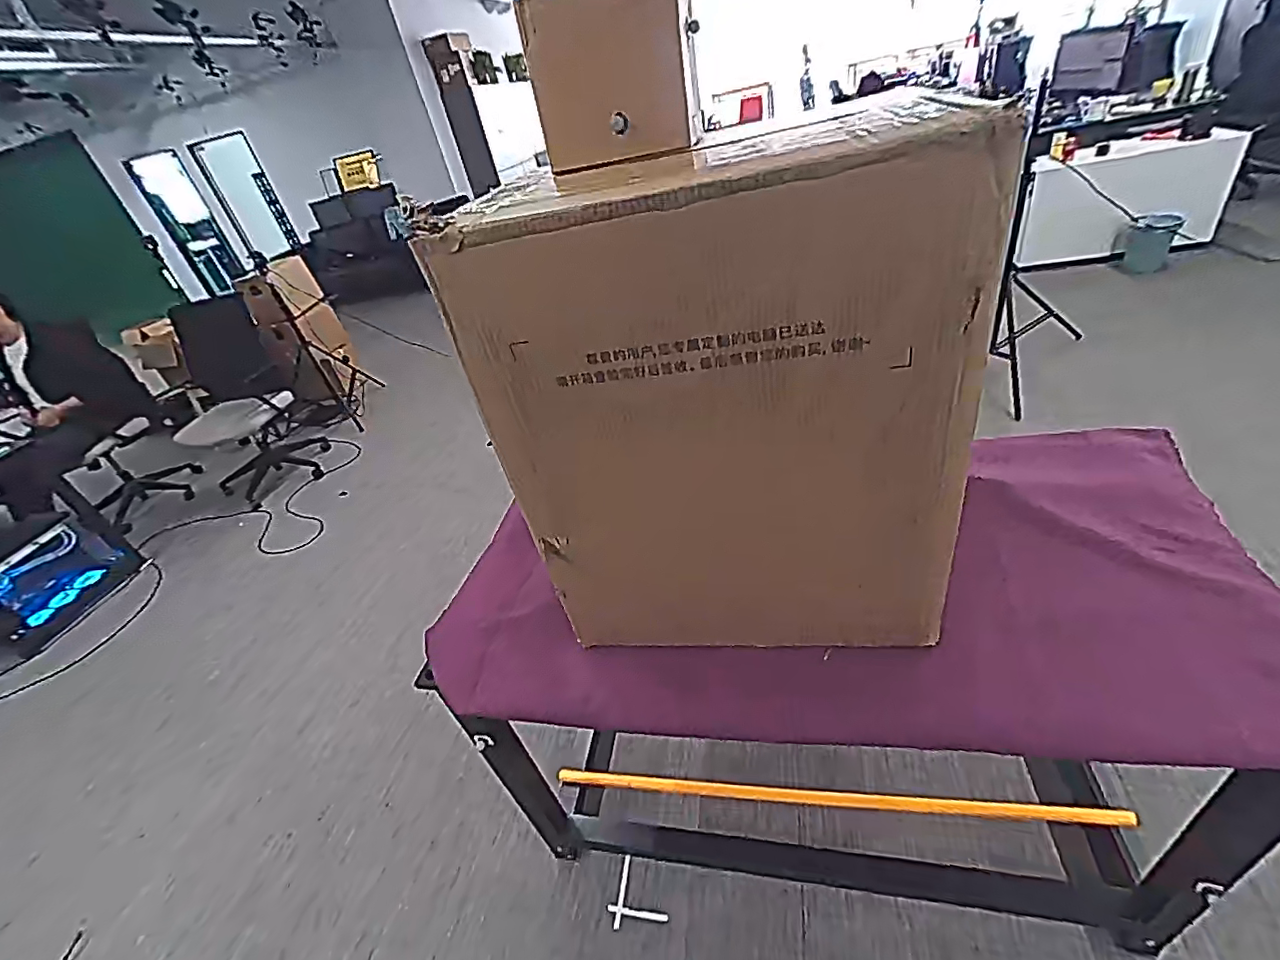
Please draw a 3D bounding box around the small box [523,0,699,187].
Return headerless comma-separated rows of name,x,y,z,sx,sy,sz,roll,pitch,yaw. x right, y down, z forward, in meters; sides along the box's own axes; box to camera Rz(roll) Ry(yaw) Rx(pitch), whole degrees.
small box,-0.029,-0.479,0.664,0.179,0.176,0.168,-3,36,15
